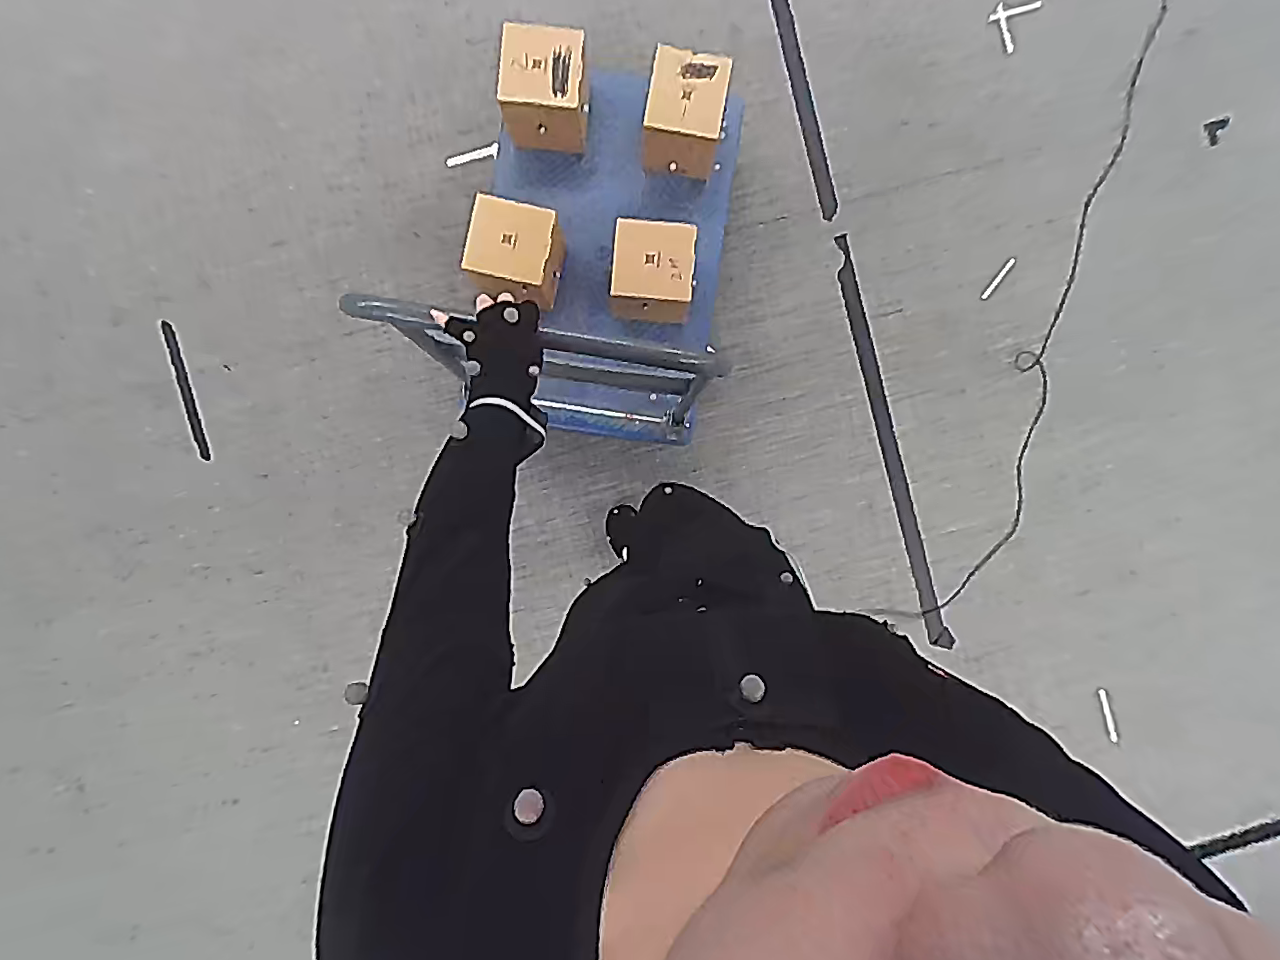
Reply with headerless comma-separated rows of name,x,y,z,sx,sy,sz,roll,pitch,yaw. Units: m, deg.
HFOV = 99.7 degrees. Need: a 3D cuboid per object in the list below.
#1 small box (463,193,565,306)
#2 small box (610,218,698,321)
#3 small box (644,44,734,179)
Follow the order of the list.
small box,-0.277,-0.511,1.224,0.179,0.176,0.168,12,90,-3
small box,0.029,-0.469,1.228,0.179,0.176,0.168,5,90,-1
small box,0.103,-0.827,1.227,0.168,0.176,0.179,10,91,-1
